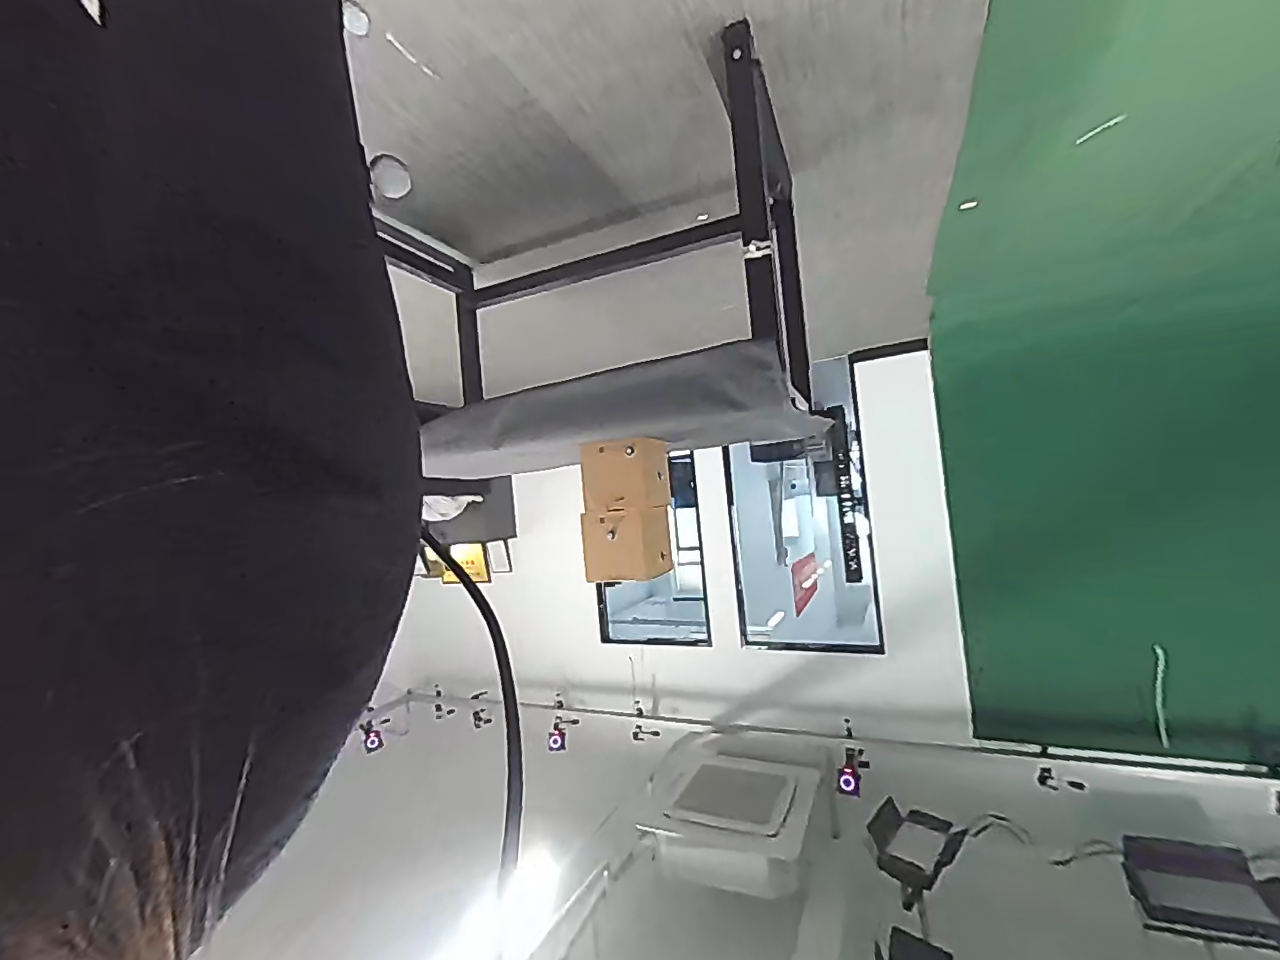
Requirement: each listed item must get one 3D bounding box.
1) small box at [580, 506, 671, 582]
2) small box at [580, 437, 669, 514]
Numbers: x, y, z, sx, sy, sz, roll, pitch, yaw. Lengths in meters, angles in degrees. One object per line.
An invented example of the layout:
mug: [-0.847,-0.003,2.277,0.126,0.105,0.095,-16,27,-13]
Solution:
small box: [-0.032,0.153,1.339,0.168,0.176,0.179,-7,178,24]
small box: [-0.037,-0.013,1.330,0.168,0.176,0.179,-6,179,21]
